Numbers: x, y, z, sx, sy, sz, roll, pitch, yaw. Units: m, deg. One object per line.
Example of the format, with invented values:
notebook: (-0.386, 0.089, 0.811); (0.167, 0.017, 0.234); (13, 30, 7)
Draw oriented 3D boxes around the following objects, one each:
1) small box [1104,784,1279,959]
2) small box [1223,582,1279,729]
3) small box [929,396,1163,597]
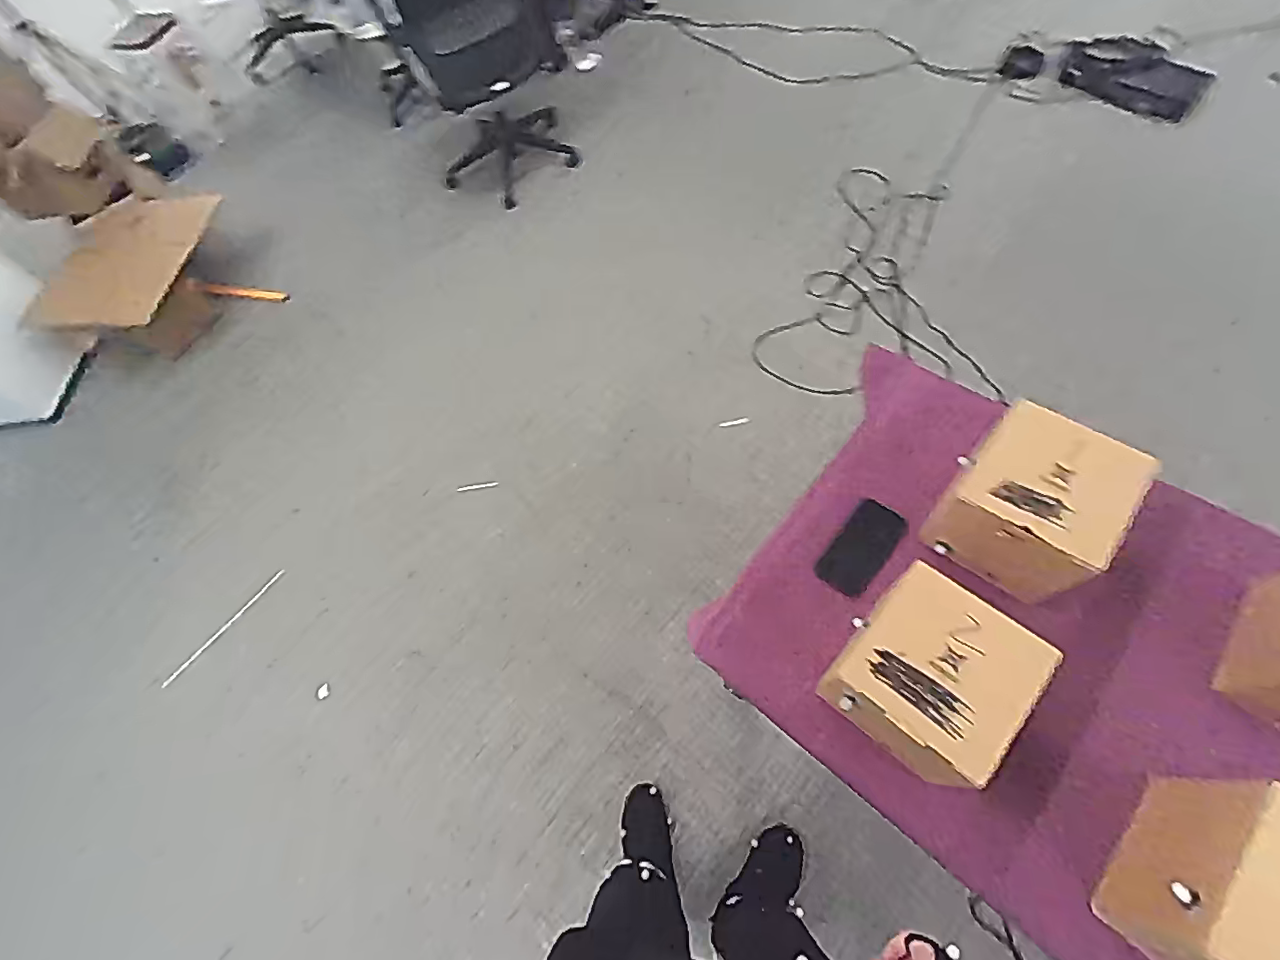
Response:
small box: (0.602, 0.419, 0.512); (0.168, 0.176, 0.179); (37, 74, 24)
small box: (0.808, 0.203, 0.583); (0.168, 0.176, 0.179); (34, 75, 24)
small box: (0.516, 0.029, 0.719); (0.168, 0.176, 0.179); (35, 74, 23)
